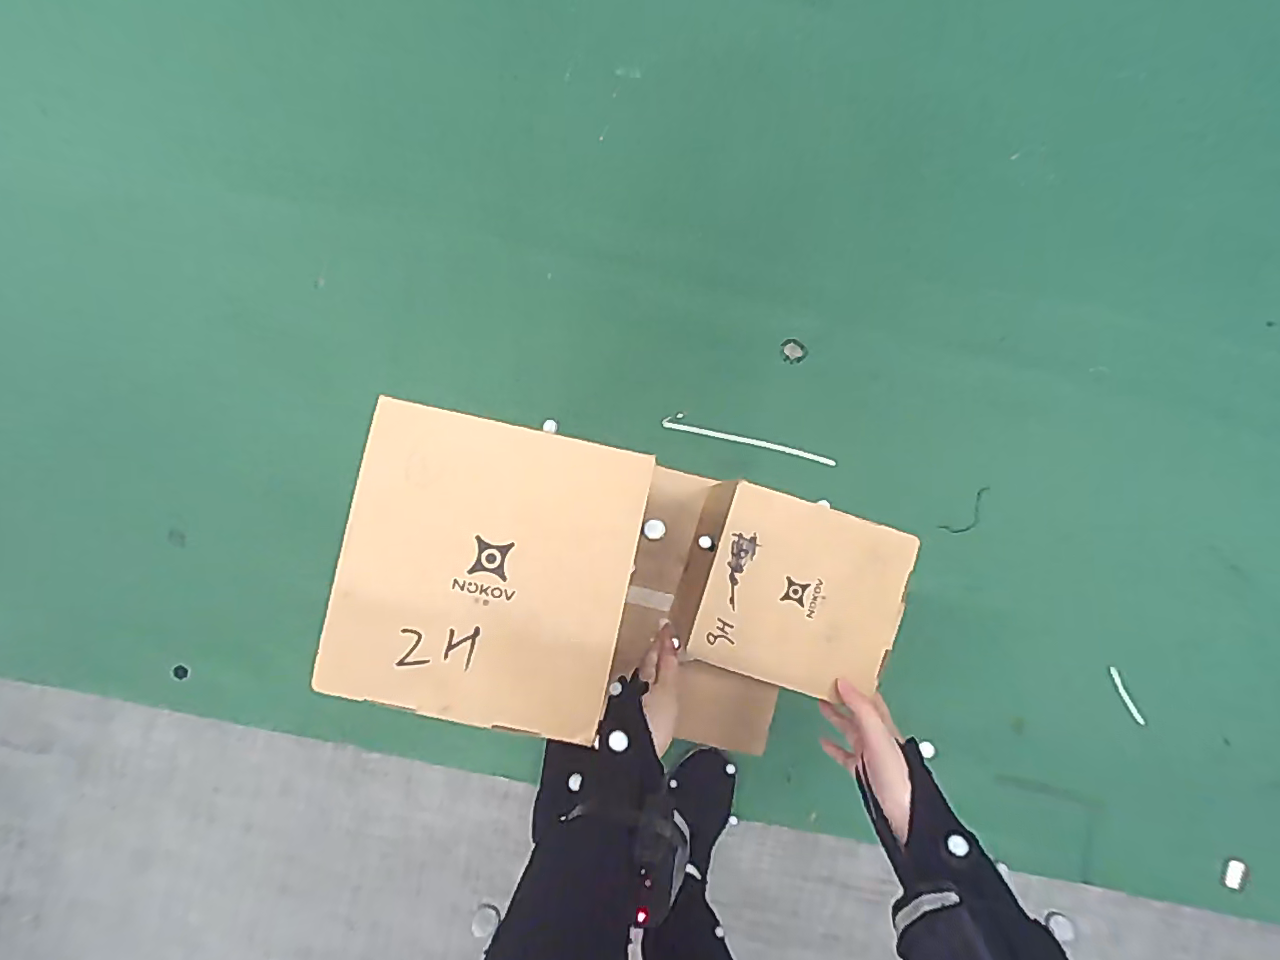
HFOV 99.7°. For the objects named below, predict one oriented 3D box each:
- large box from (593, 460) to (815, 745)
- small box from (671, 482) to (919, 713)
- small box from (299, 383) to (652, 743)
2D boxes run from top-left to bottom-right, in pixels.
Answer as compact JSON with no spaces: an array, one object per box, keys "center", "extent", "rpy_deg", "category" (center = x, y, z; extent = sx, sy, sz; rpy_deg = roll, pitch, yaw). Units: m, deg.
[{"center":[-0.019,0.134,0.793],"extent":[0.408,0.320,0.320],"rpy_deg":[13,88,-2],"category":"large box"},{"center":[0.141,0.106,0.555],"extent":[0.179,0.176,0.168],"rpy_deg":[18,87,0],"category":"small box"},{"center":[-0.095,0.050,0.386],"extent":[0.168,0.176,0.179],"rpy_deg":[13,87,-2],"category":"small box"}]
